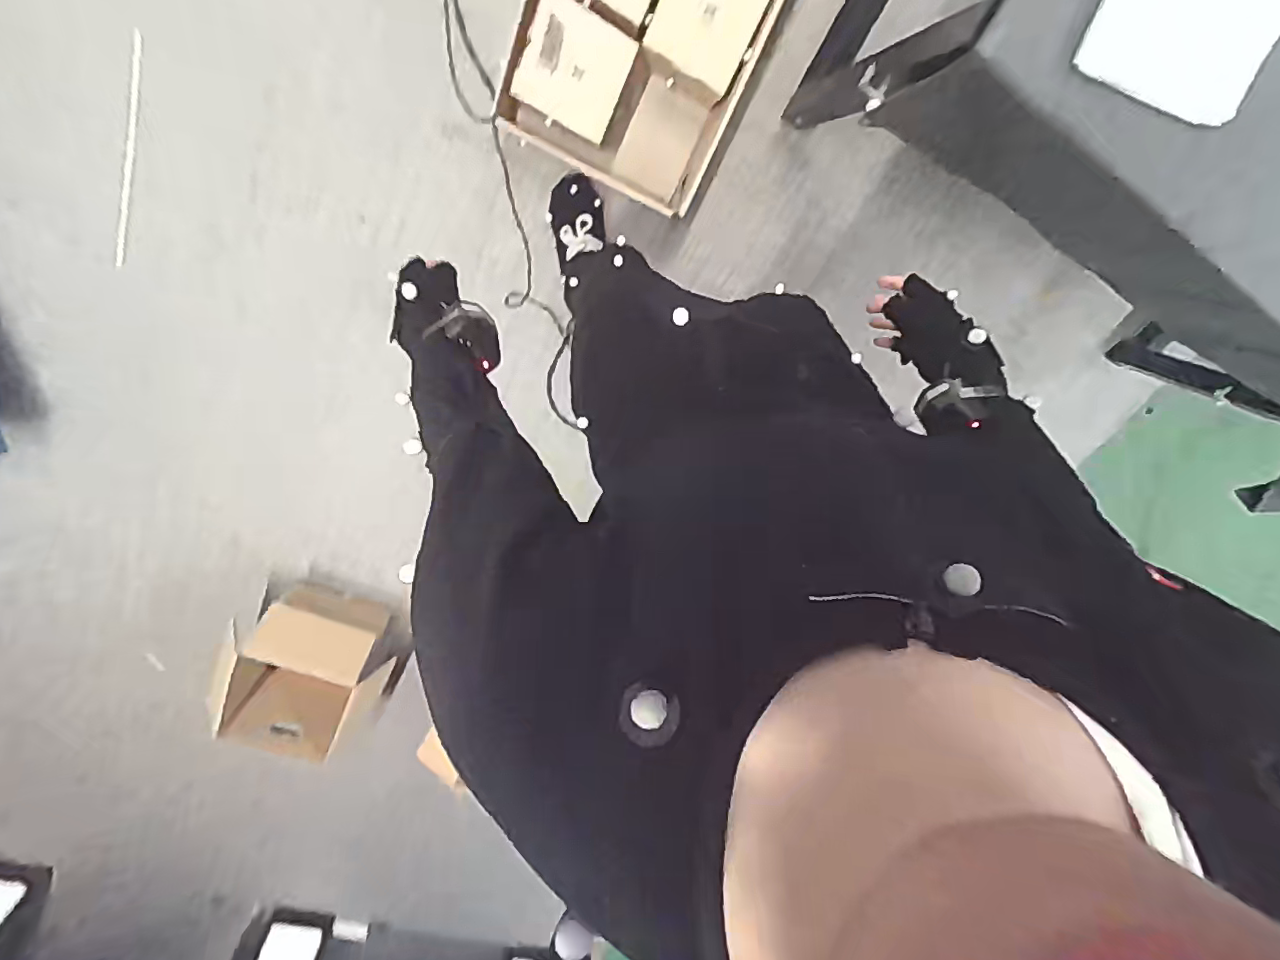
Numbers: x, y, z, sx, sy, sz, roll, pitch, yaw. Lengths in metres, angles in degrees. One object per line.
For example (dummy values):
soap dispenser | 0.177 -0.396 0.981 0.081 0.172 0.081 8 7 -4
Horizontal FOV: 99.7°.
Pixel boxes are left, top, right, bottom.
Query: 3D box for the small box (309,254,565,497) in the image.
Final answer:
small box | -0.216 -0.108 0.569 0.176 0.179 0.168 -42 120 -15
